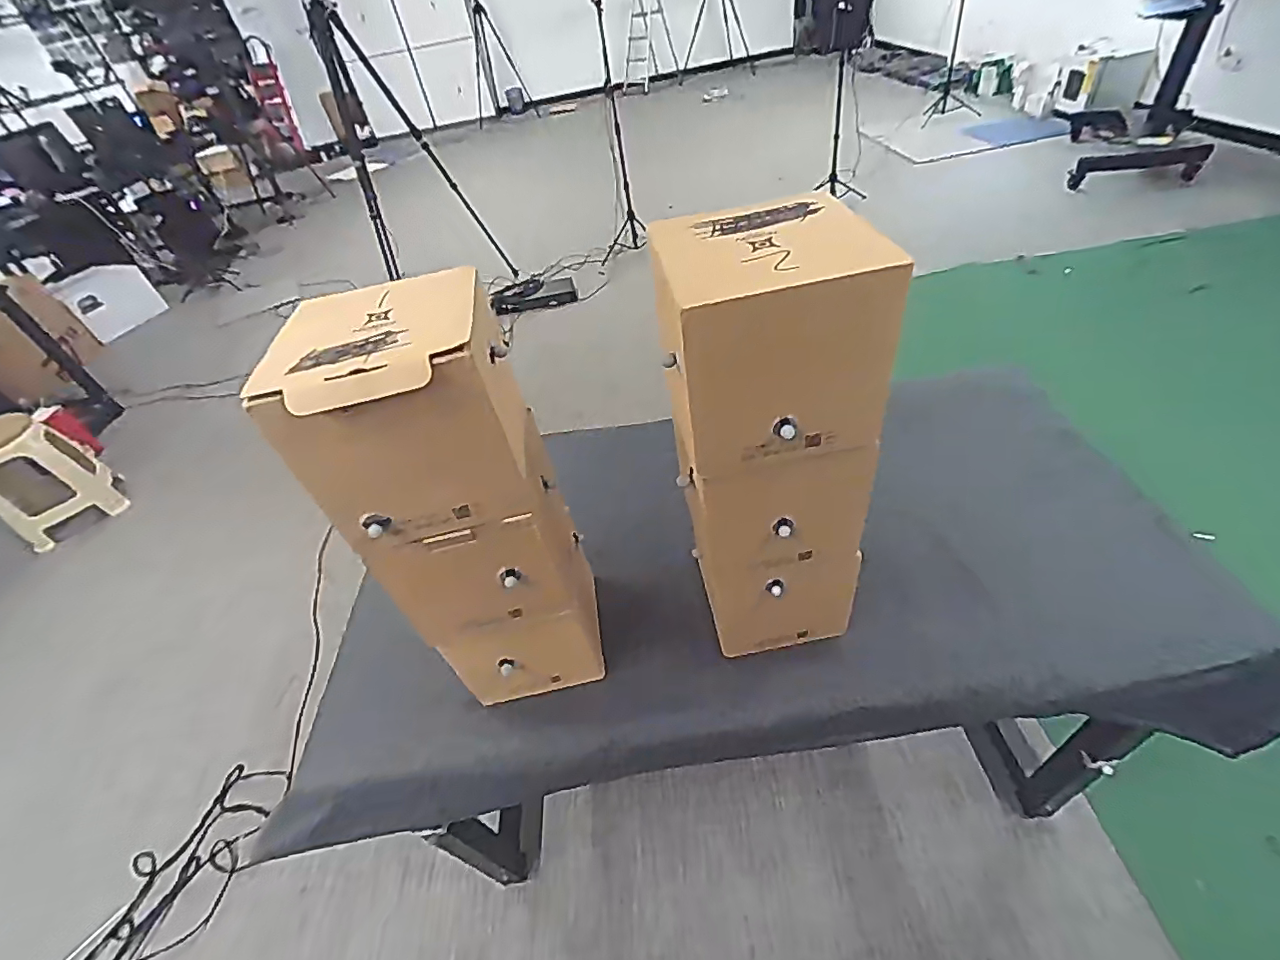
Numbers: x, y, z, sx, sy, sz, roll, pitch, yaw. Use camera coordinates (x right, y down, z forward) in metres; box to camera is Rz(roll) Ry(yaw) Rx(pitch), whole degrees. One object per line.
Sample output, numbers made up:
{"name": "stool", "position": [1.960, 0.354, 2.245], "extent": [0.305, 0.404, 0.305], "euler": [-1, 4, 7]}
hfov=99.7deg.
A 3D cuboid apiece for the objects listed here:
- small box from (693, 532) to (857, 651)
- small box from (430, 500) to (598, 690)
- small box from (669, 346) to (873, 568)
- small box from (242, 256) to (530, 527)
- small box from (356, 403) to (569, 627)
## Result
{"name": "small box", "position": [0.163, 0.096, 0.714], "extent": [0.168, 0.176, 0.179], "euler": [-12, 43, 0]}
{"name": "small box", "position": [-0.156, 0.158, 0.715], "extent": [0.168, 0.176, 0.179], "euler": [-12, 43, -1]}
{"name": "small box", "position": [0.133, -0.020, 0.599], "extent": [0.168, 0.176, 0.179], "euler": [-11, 43, 0]}
{"name": "small box", "position": [-0.202, -0.075, 0.491], "extent": [0.168, 0.176, 0.179], "euler": [-13, 43, -4]}
{"name": "small box", "position": [-0.180, 0.044, 0.602], "extent": [0.168, 0.176, 0.179], "euler": [-12, 42, -3]}
